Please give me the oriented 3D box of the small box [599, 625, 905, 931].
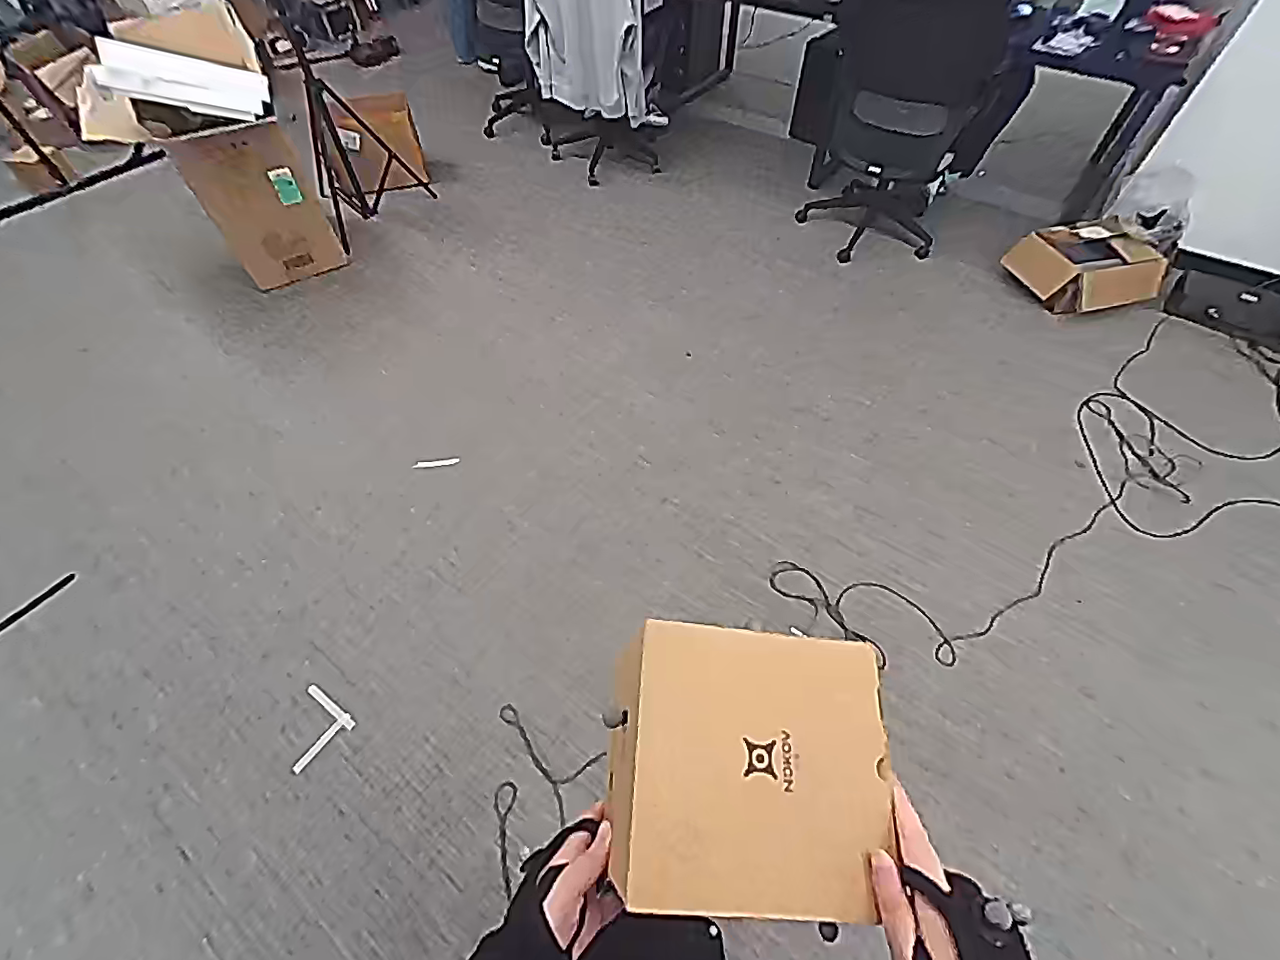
[{"bbox_3d":[0.066,0.222,0.420,0.179,0.176,0.168,8,61,-7],"label":"small box"}]
